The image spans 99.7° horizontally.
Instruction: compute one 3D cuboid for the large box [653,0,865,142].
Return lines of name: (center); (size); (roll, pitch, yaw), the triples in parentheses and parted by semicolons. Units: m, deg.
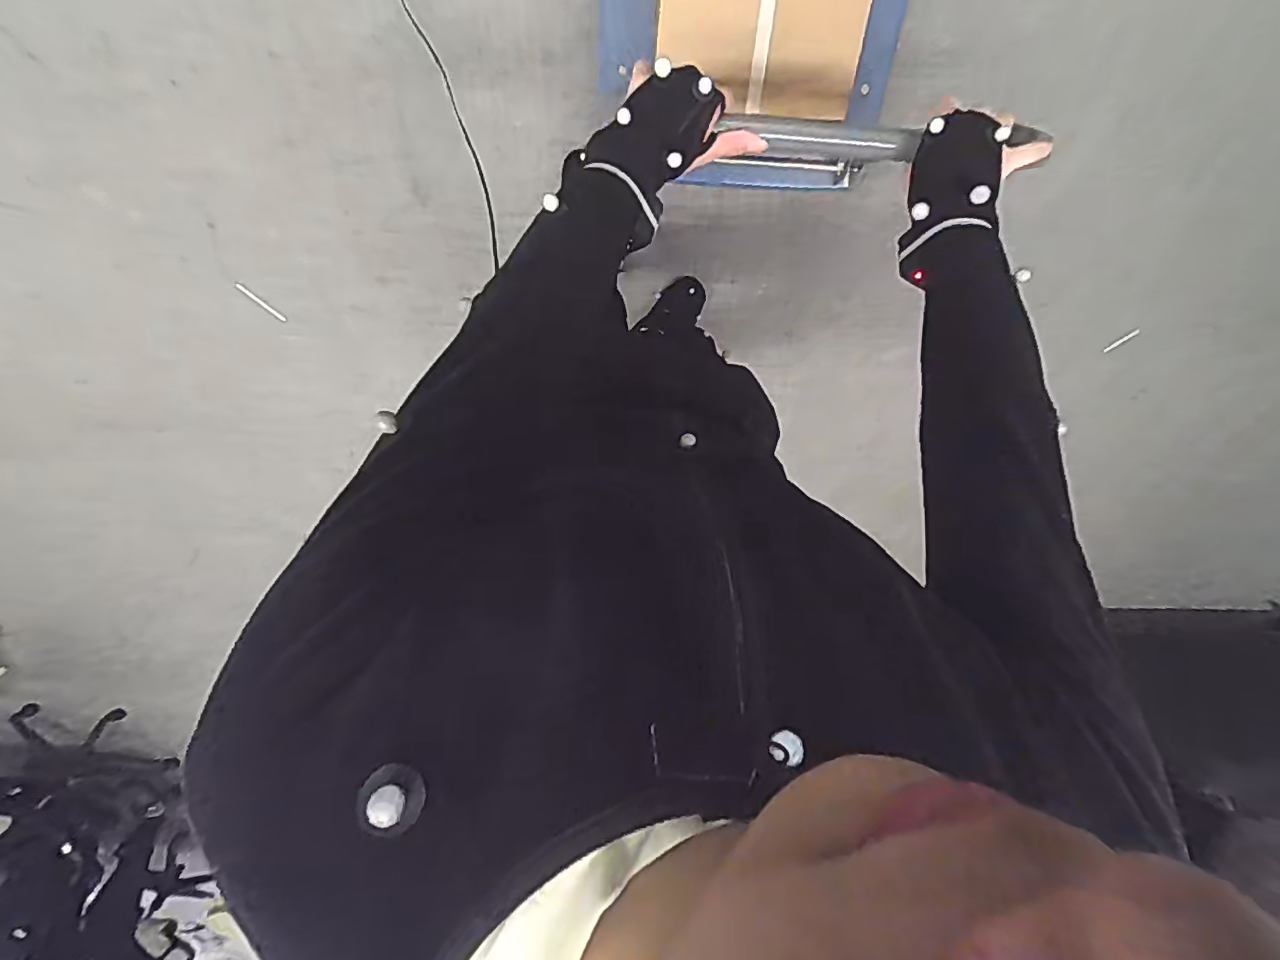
large box: (0.188, -0.830, 0.922); (0.320, 0.320, 0.408); (3, 118, -2)
